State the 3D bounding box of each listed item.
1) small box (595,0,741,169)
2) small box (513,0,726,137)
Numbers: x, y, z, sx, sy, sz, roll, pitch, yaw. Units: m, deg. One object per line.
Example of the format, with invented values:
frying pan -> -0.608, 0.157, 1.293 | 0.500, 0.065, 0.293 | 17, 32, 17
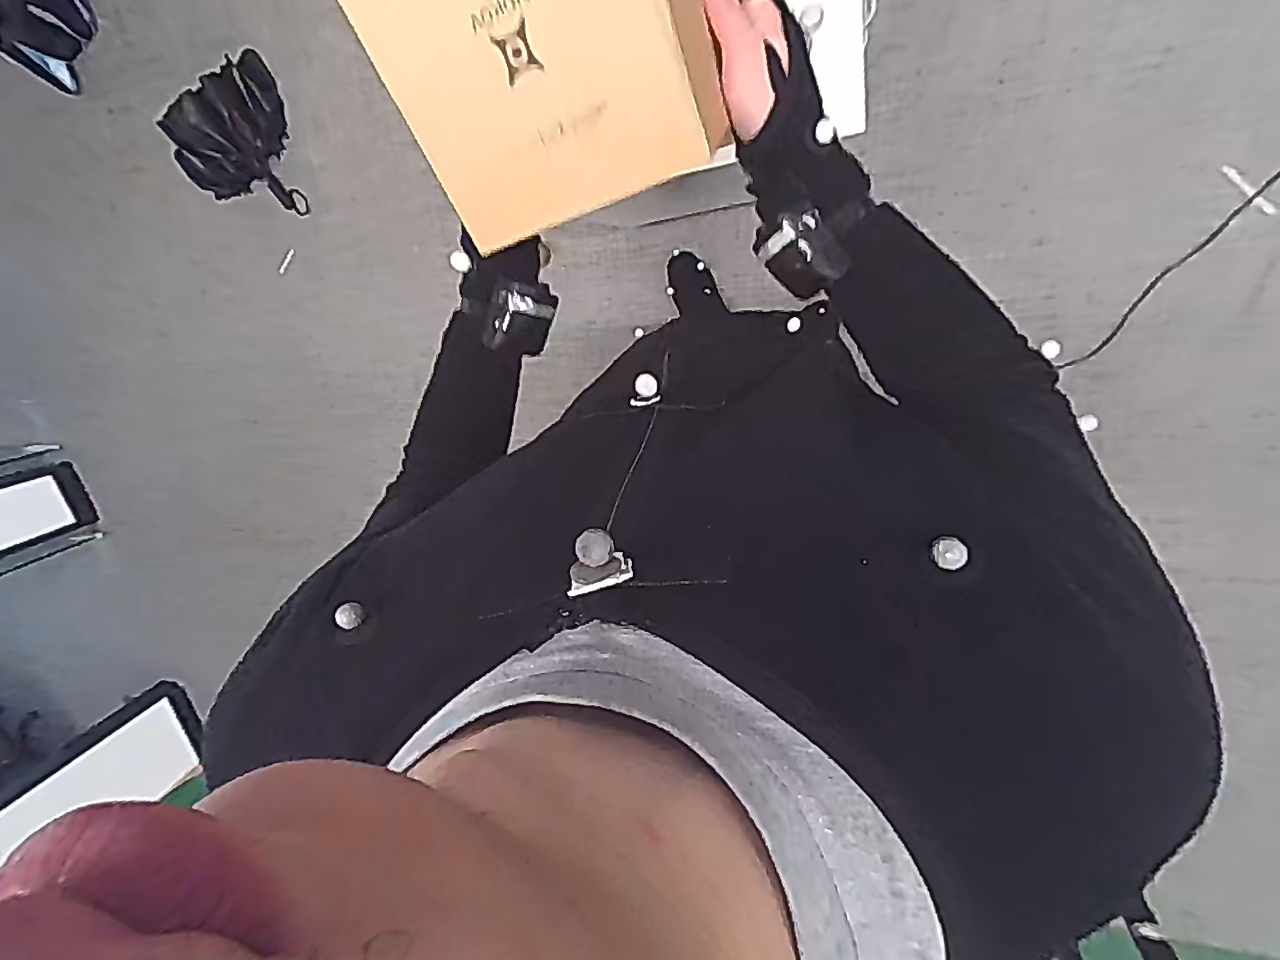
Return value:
small box -> 0.029, -0.523, 0.684 | 0.168, 0.176, 0.179 | -7, 108, 19
small box -> -0.015, -0.465, 0.535 | 0.168, 0.176, 0.179 | -6, 108, 18
